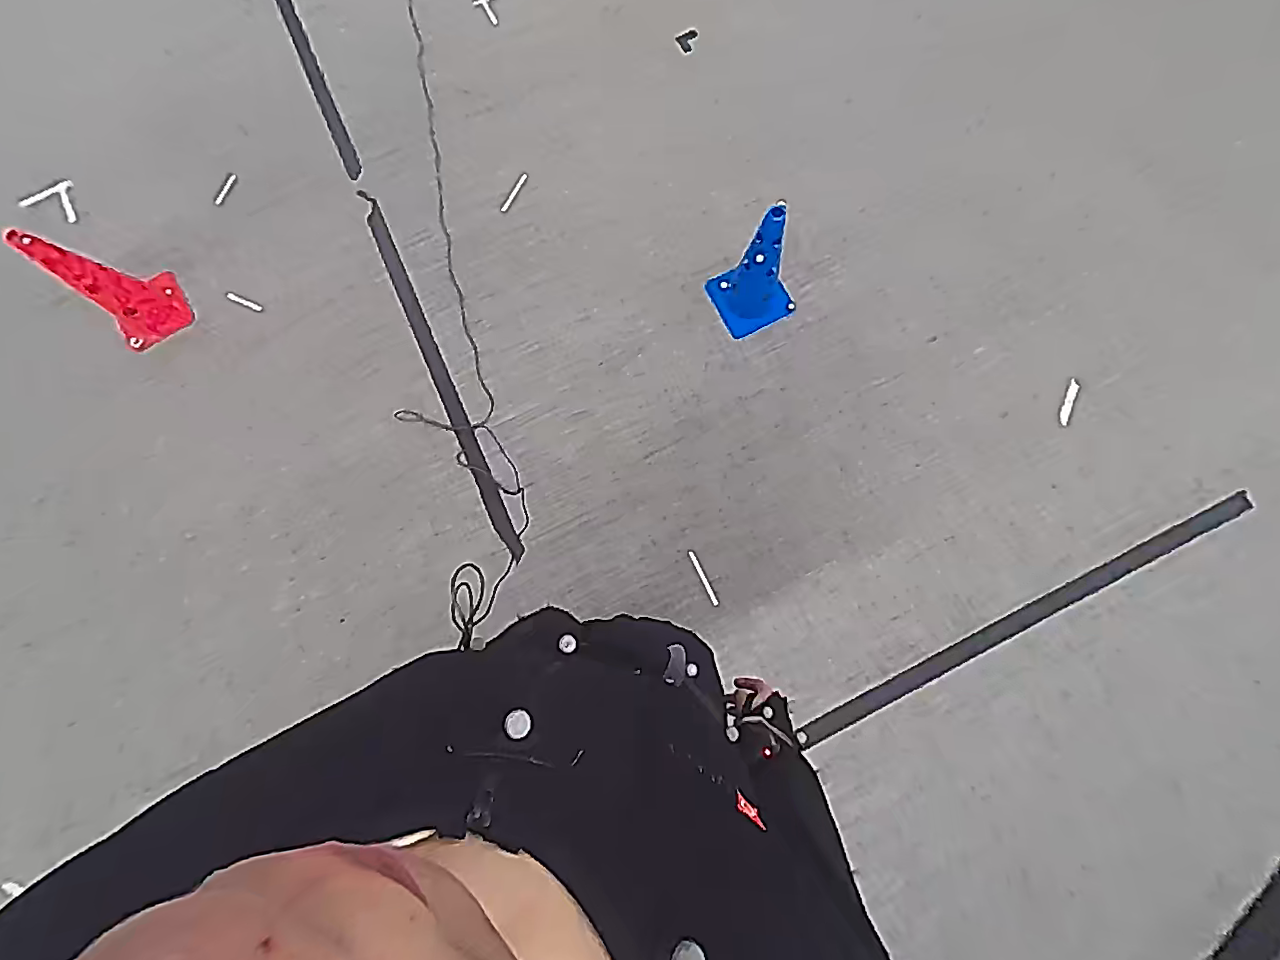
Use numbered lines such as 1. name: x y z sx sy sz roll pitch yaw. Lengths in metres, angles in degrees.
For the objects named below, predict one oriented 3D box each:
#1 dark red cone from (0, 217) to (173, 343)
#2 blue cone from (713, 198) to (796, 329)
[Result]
1. dark red cone: -1.448 -0.538 1.381 0.201 0.394 0.202 -33 80 -5
2. blue cone: 0.312 -0.555 1.349 0.192 0.380 0.193 -25 79 -4
